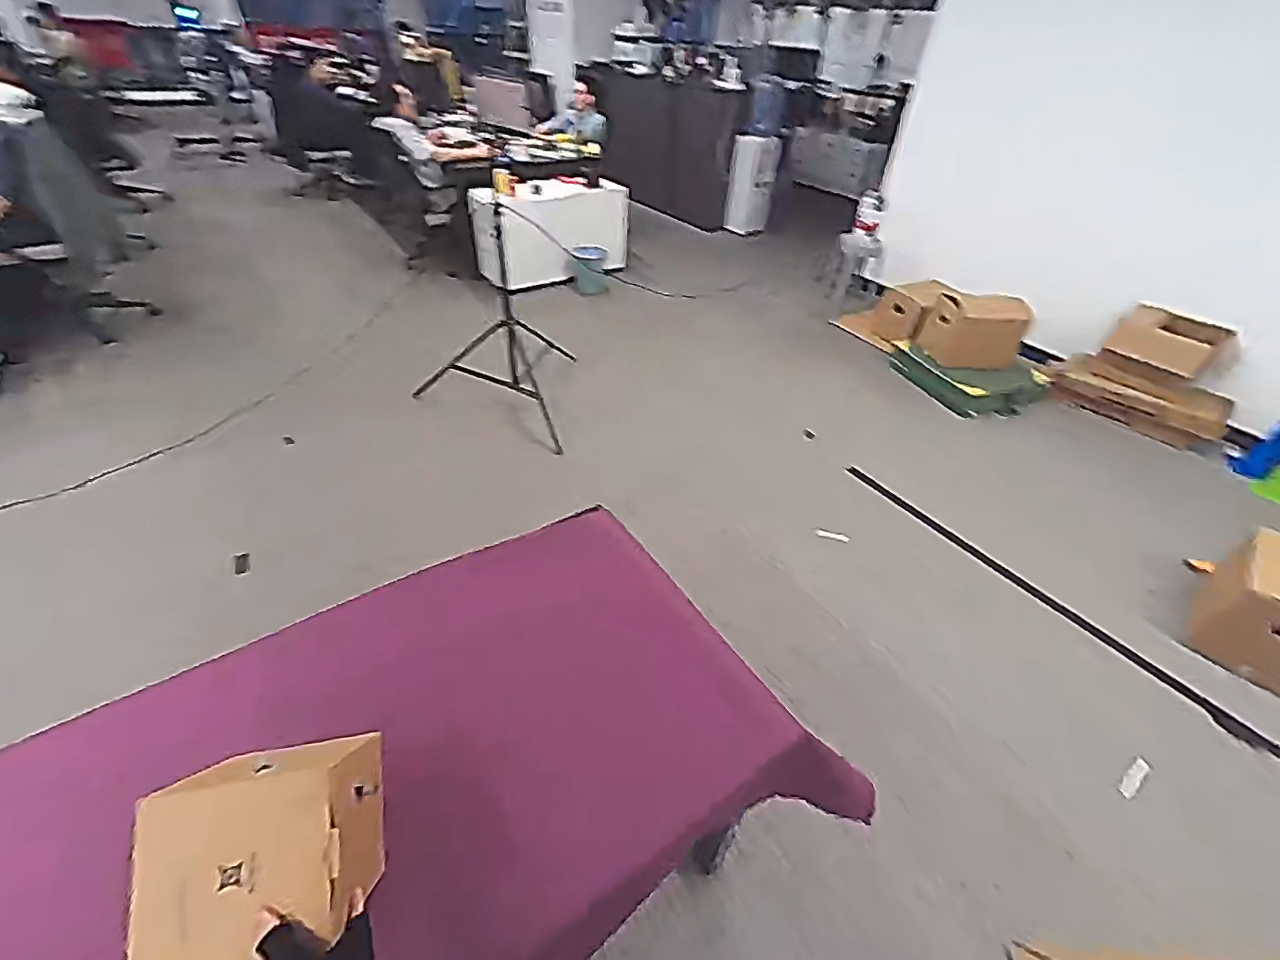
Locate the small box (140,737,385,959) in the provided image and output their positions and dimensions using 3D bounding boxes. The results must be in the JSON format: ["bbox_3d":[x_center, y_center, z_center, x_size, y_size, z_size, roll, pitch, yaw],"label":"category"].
[{"bbox_3d":[-0.396,0.401,0.601,0.179,0.176,0.168,-8,76,-10],"label":"small box"}]
